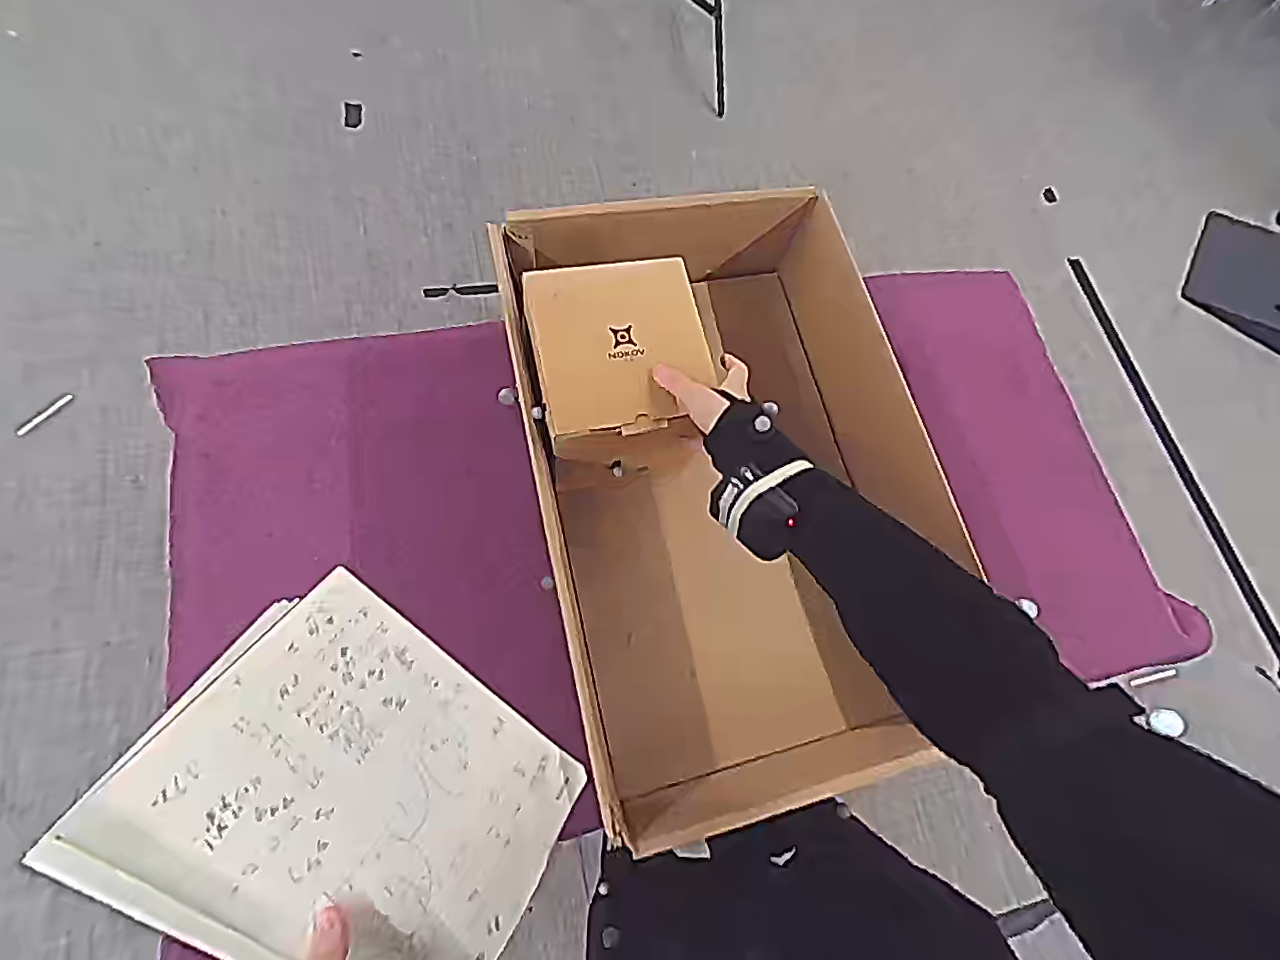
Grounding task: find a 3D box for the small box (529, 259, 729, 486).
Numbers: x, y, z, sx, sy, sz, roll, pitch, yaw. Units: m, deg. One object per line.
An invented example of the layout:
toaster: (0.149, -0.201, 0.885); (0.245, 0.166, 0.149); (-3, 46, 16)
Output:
small box: (-0.026, -0.110, 0.591); (0.168, 0.176, 0.179); (-11, 75, -12)
